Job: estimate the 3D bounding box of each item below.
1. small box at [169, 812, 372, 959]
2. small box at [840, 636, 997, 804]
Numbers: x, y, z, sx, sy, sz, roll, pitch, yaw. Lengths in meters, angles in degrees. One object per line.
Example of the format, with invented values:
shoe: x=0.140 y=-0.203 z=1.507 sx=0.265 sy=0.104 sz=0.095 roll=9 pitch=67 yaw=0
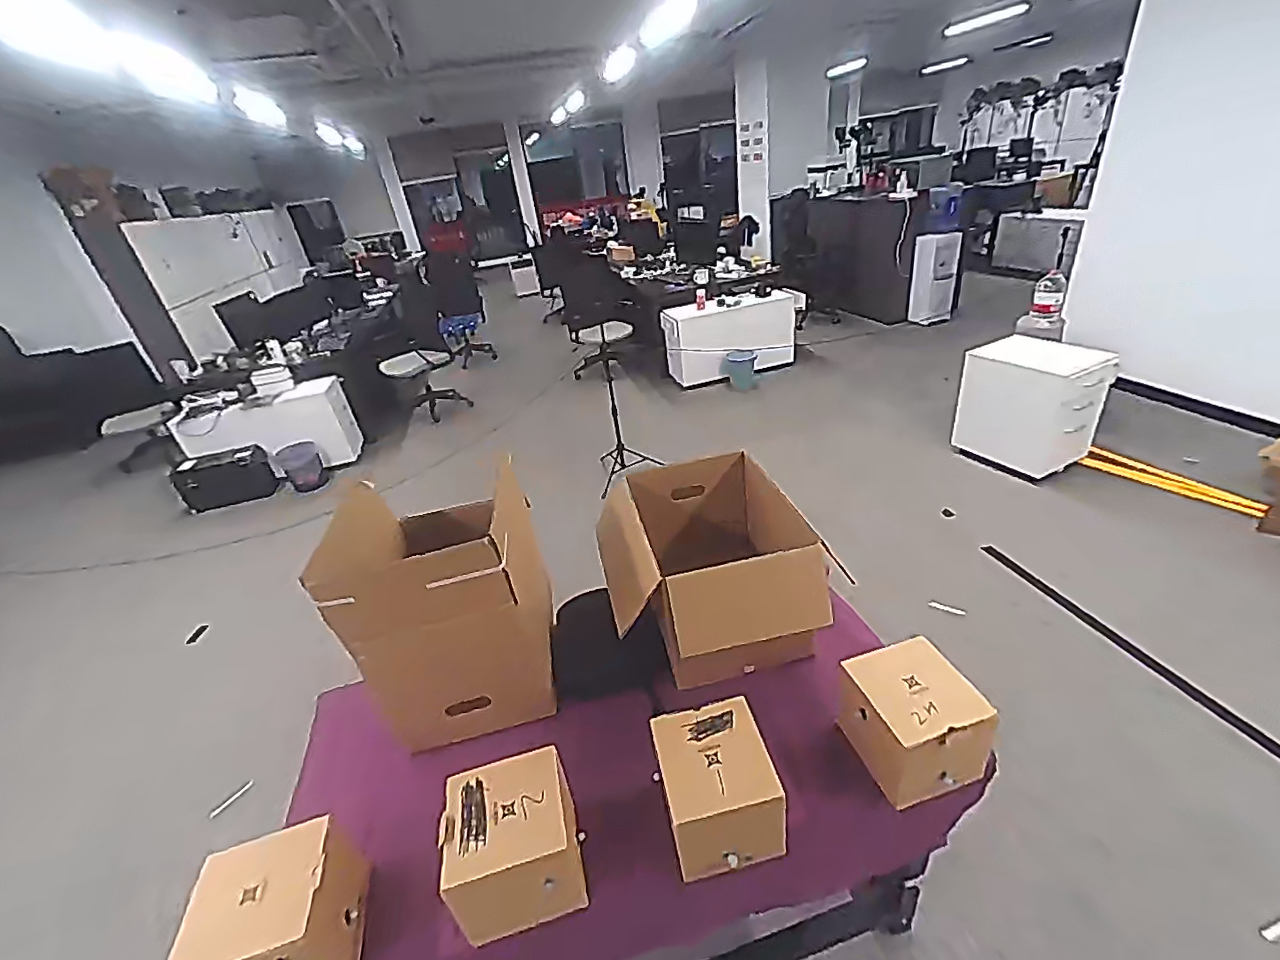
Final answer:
small box: x=-0.520 y=0.636 z=0.787 sx=0.179 sy=0.176 sz=0.168 roll=-14 pitch=30 yaw=-11
small box: x=0.457 y=0.405 z=0.922 sx=0.168 sy=0.176 sz=0.179 roll=-15 pitch=30 yaw=-8
